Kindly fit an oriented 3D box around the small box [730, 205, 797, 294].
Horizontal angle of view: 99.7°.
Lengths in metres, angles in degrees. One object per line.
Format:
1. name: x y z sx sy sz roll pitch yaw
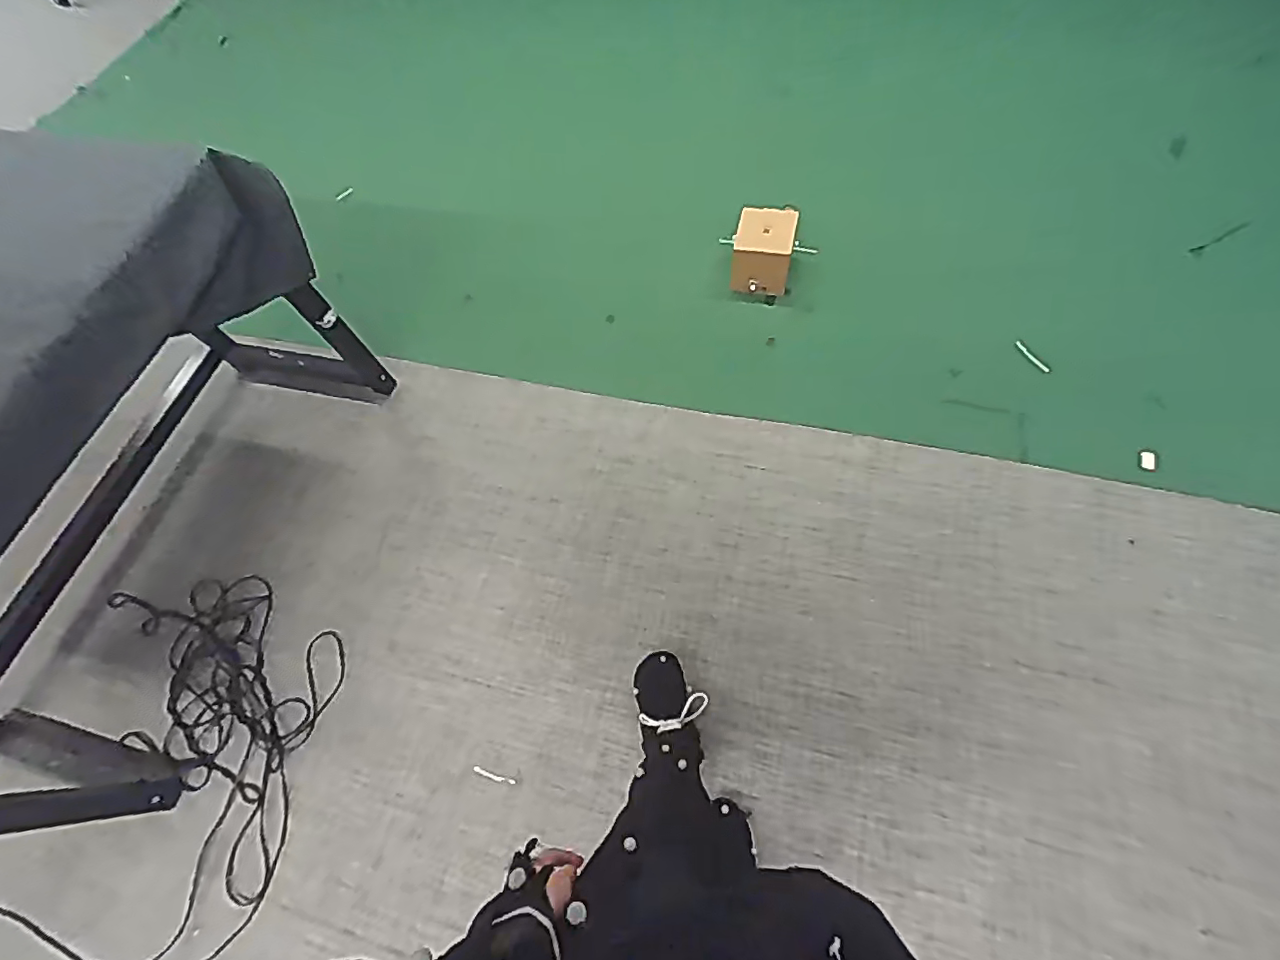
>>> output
1. small box: 0.367 -0.691 1.627 0.168 0.176 0.179 10 68 11
